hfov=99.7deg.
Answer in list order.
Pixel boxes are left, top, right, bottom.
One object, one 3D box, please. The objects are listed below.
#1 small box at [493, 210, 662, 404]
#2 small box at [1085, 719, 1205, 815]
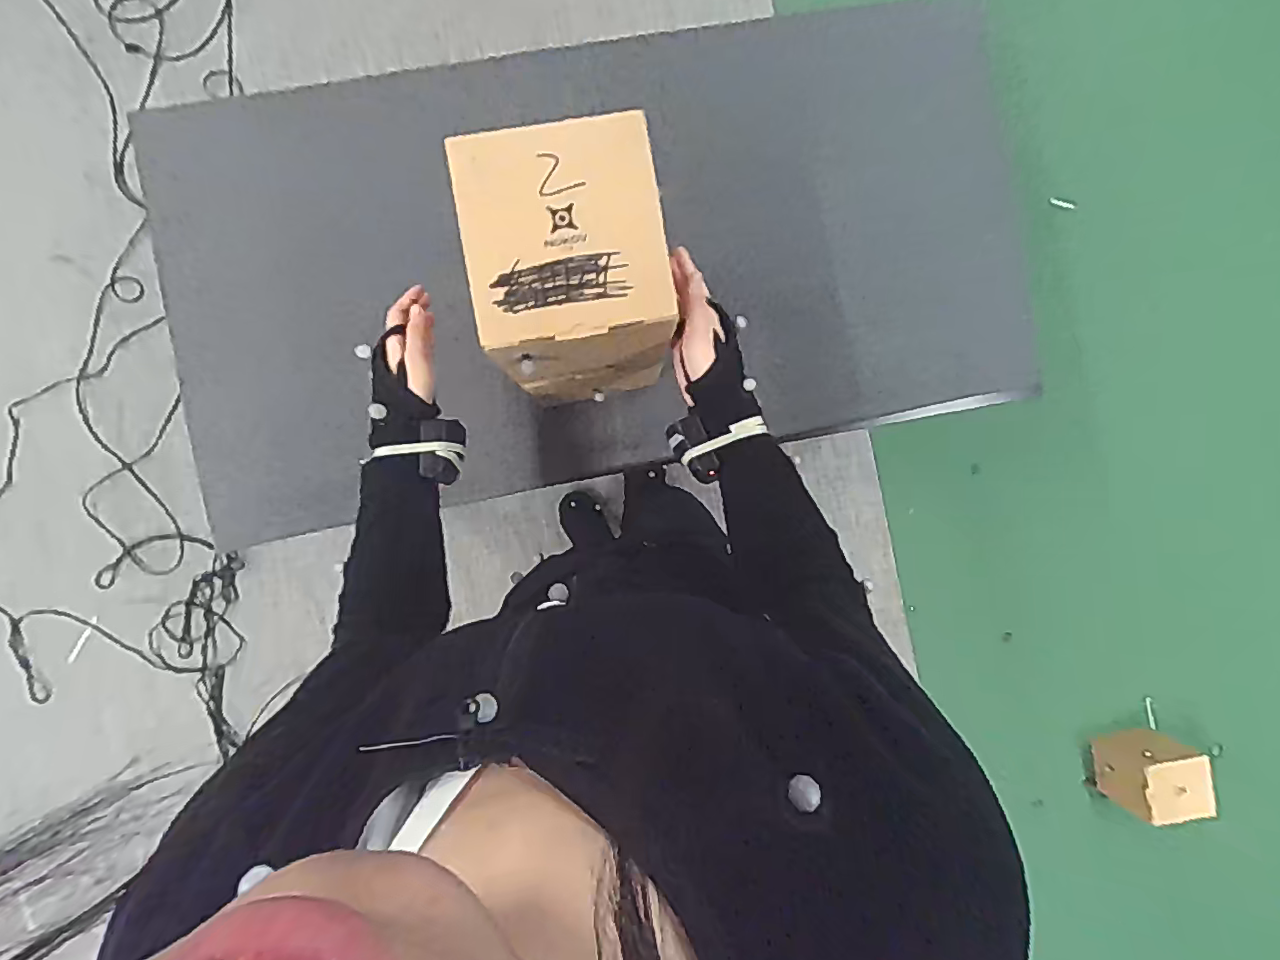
[{"bbox_3d":[-0.074,-0.206,0.691,0.168,0.176,0.179,-13,91,-1],"label":"small box"},{"bbox_3d":[1.411,0.795,1.519,0.179,0.176,0.168,-10,92,-2],"label":"small box"}]
